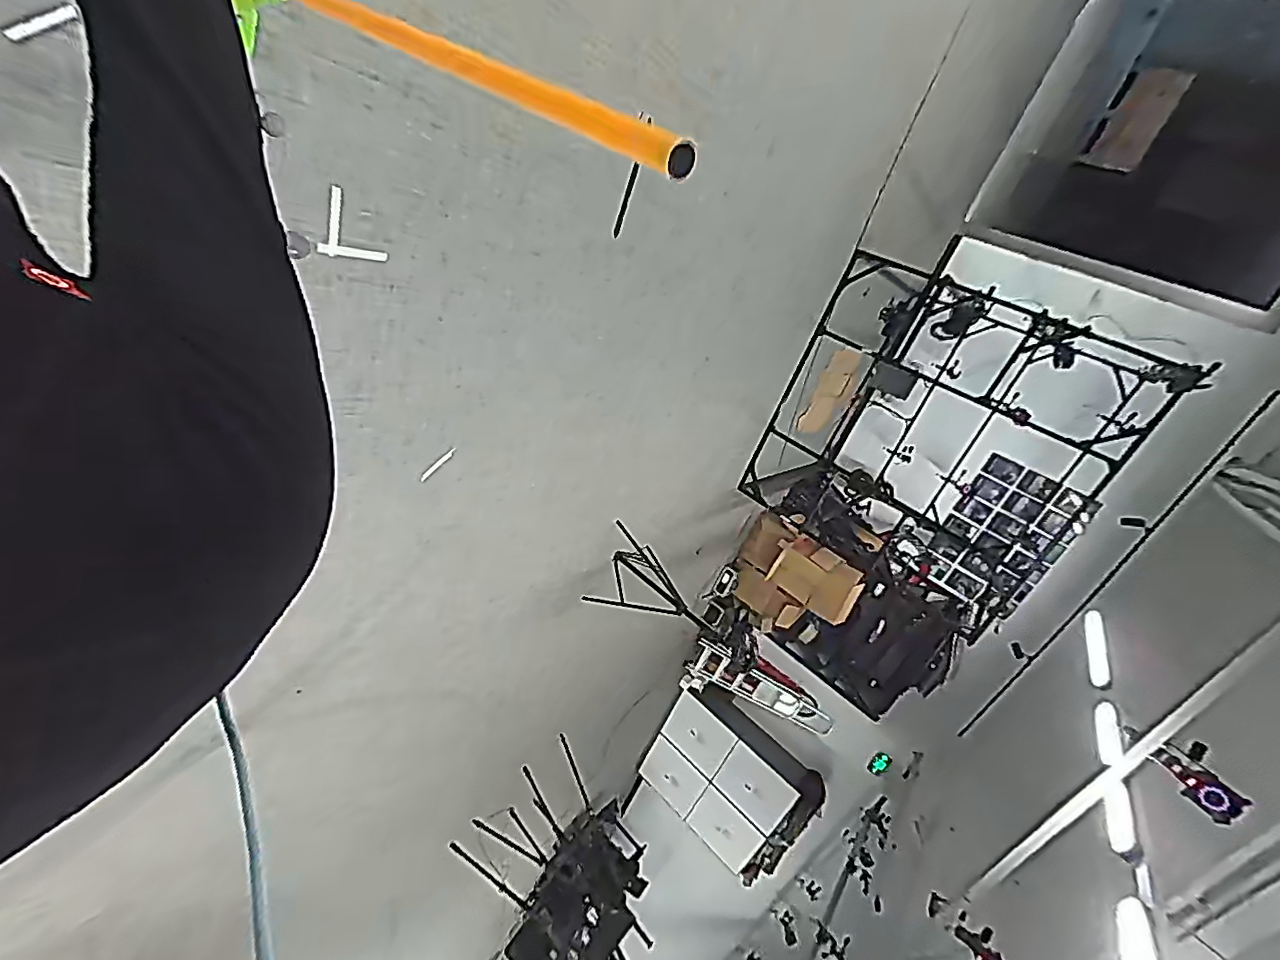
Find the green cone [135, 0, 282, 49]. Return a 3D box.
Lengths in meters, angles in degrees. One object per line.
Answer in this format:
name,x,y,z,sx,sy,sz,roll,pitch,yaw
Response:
green cone,-0.651,-0.809,0.856,0.202,0.368,0.200,-10,130,-56
